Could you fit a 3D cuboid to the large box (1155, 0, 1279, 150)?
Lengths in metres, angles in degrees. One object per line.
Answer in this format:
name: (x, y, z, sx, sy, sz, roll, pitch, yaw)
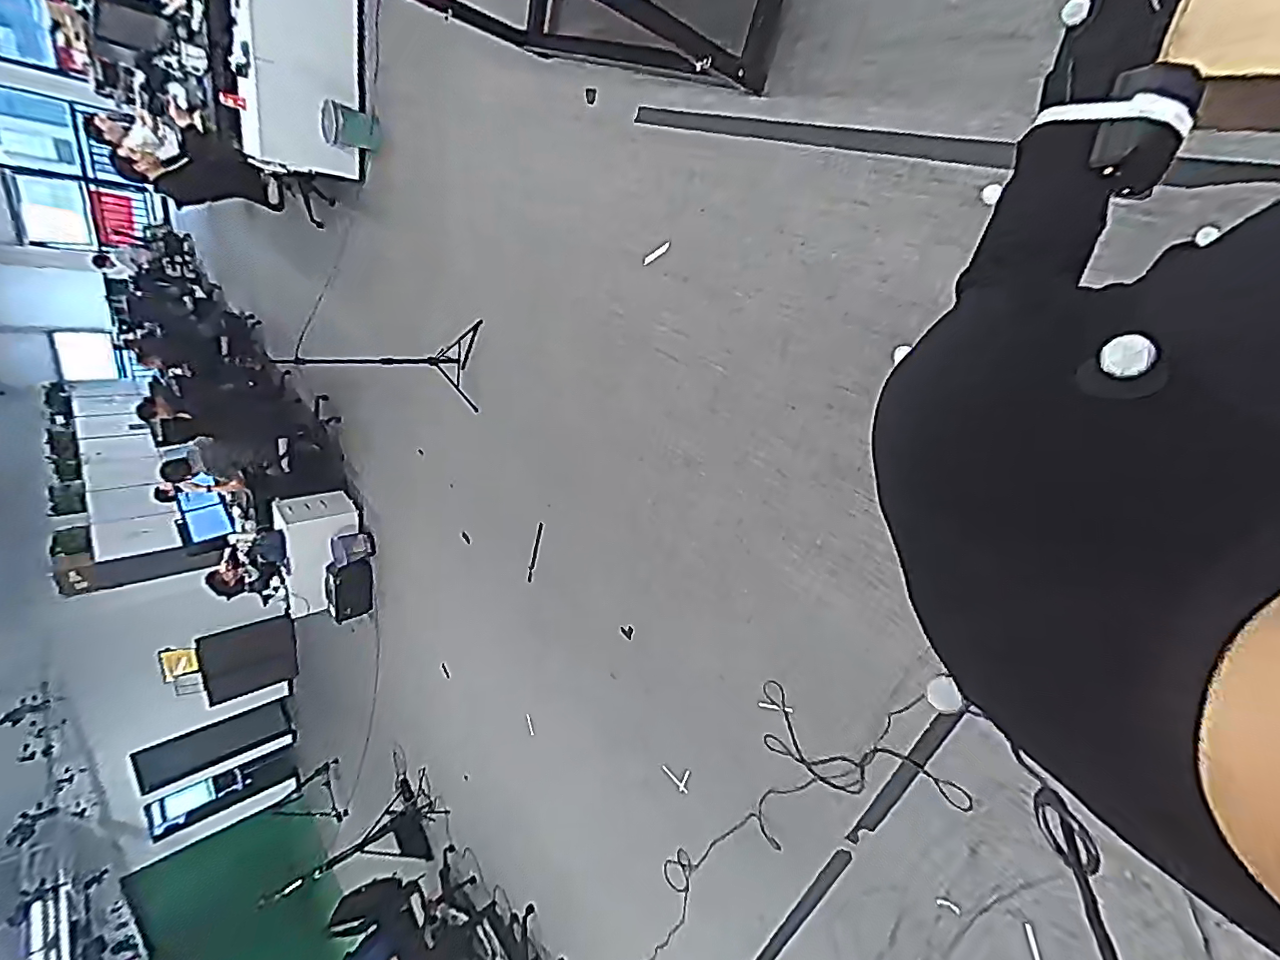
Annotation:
large box: (0.613, -0.376, 0.295, 0.408, 0.320, 0.320, 28, 126, 35)
